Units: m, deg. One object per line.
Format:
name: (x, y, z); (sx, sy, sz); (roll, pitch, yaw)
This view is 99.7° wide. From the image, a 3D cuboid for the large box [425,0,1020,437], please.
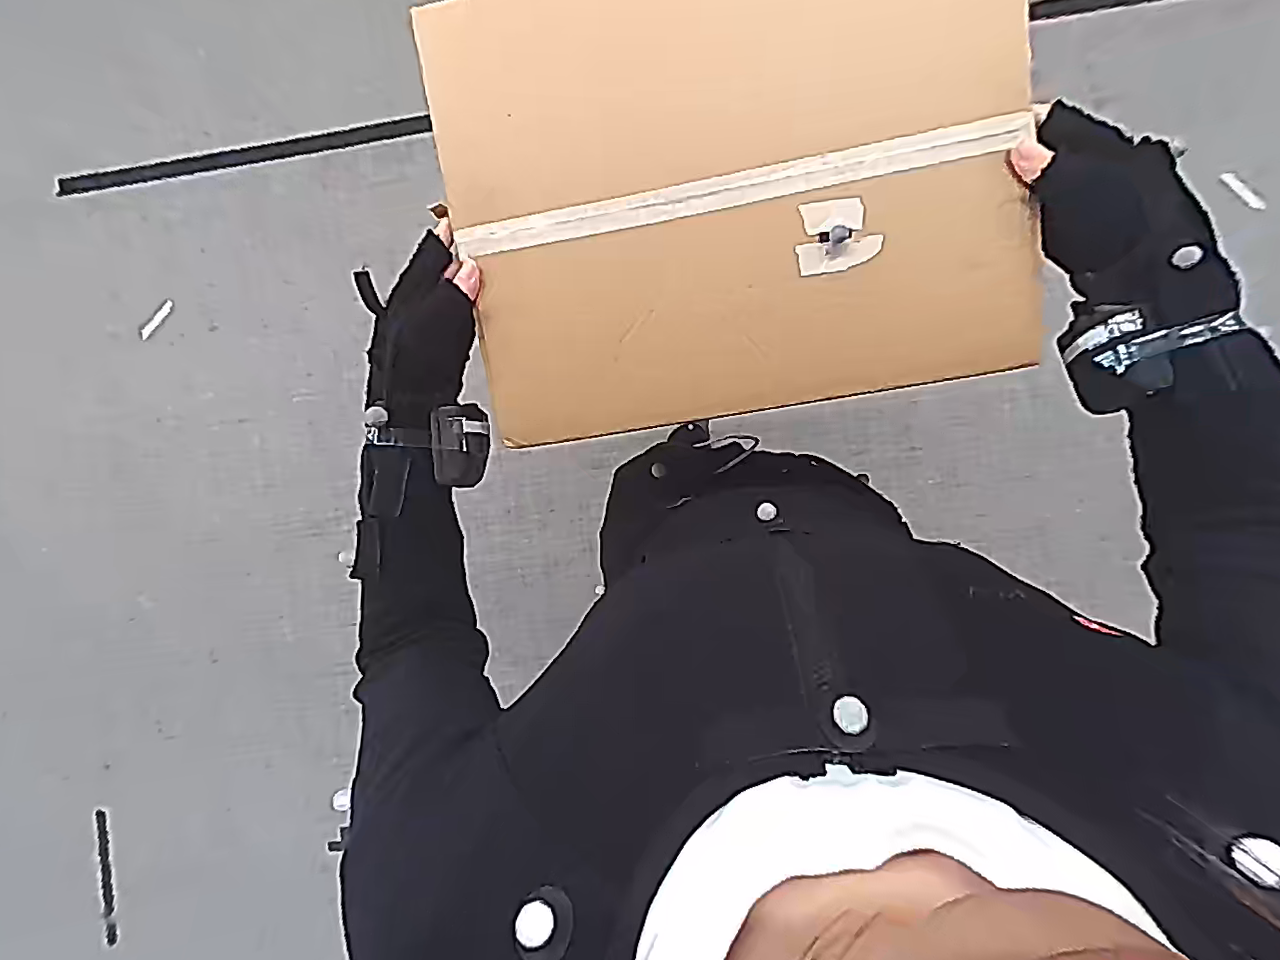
large box: (0.070, -0.241, 0.542); (0.408, 0.320, 0.320); (-9, 101, 4)
